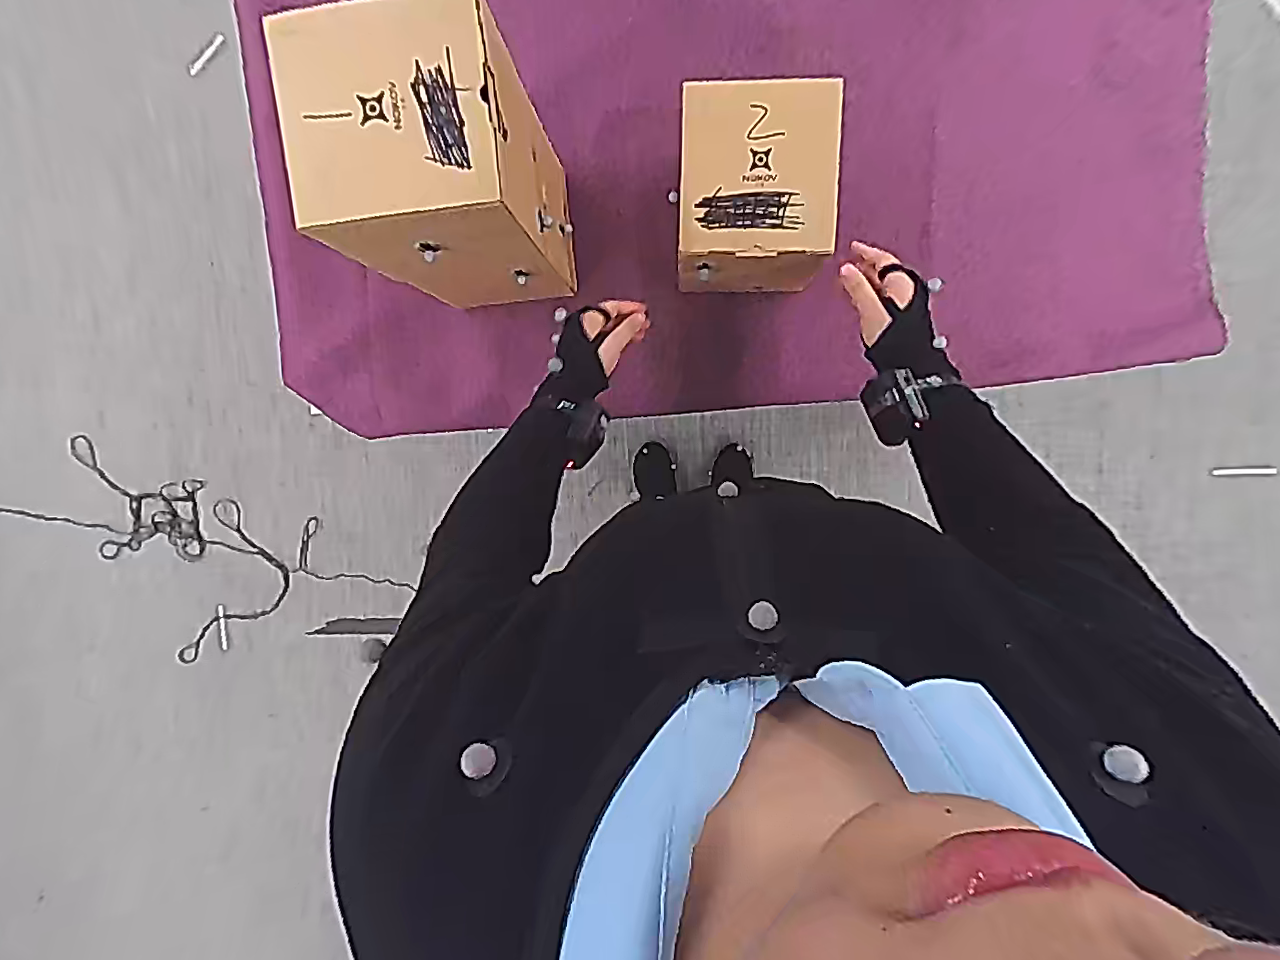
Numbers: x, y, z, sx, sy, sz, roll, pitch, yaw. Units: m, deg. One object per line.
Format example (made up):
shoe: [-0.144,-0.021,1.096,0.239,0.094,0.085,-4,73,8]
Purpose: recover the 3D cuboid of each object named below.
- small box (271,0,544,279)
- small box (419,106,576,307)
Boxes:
small box: [-0.194,-0.301,0.509,0.179,0.176,0.168,-6,95,4]
small box: [-0.187,-0.322,0.672,0.179,0.176,0.168,-6,95,3]
